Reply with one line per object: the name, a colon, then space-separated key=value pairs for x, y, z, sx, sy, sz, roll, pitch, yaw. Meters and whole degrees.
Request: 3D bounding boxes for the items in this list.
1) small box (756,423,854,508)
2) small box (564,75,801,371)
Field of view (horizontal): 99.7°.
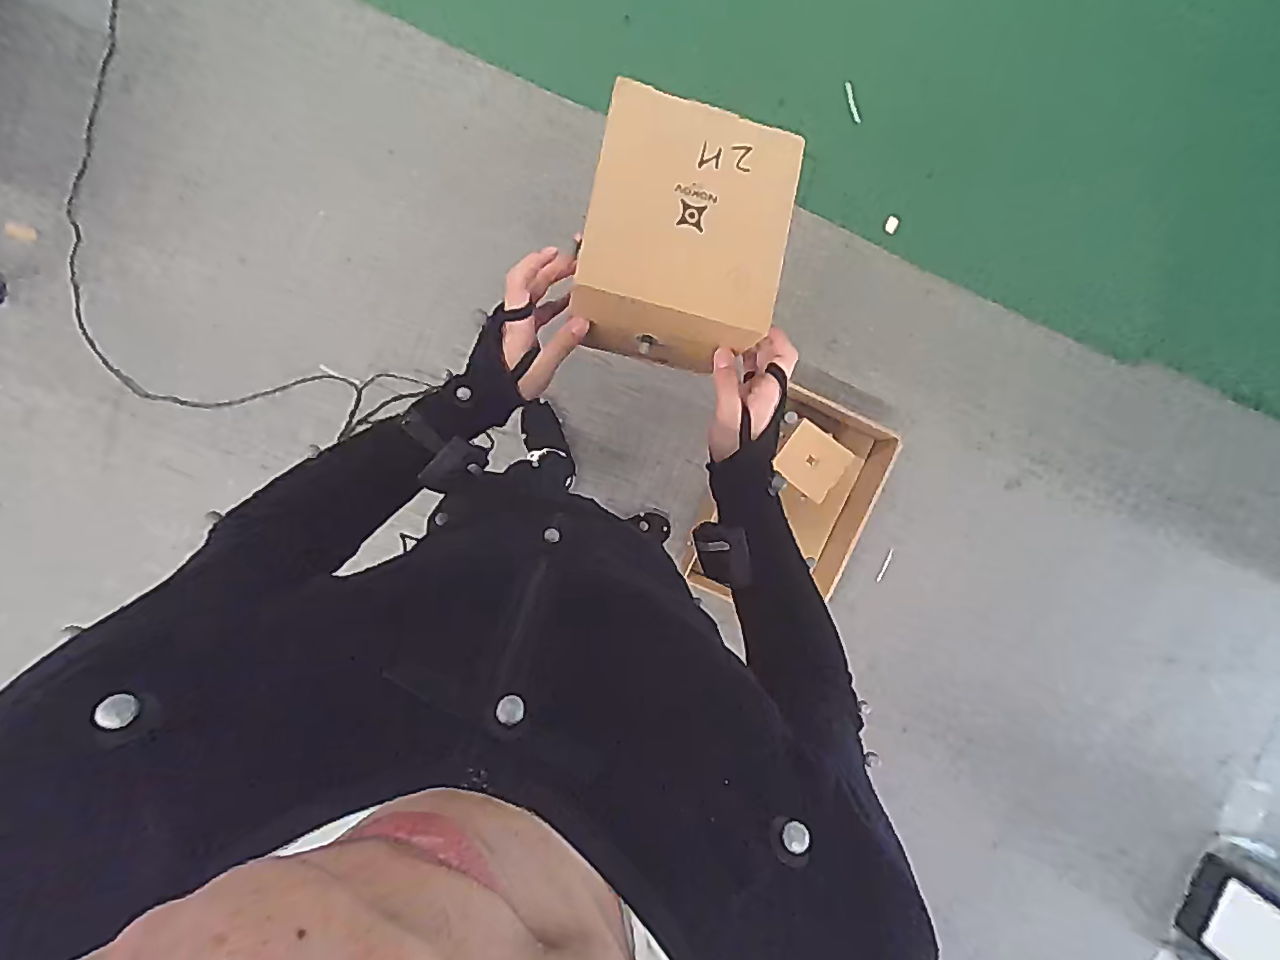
small box: x=0.454 y=-0.041 z=1.524 sx=0.179 sy=0.176 sz=0.168 roll=36 pitch=91 yaw=-6
small box: x=0.025 y=-0.216 z=0.511 sx=0.168 sy=0.176 sz=0.179 roll=12 pitch=86 yaw=-10
